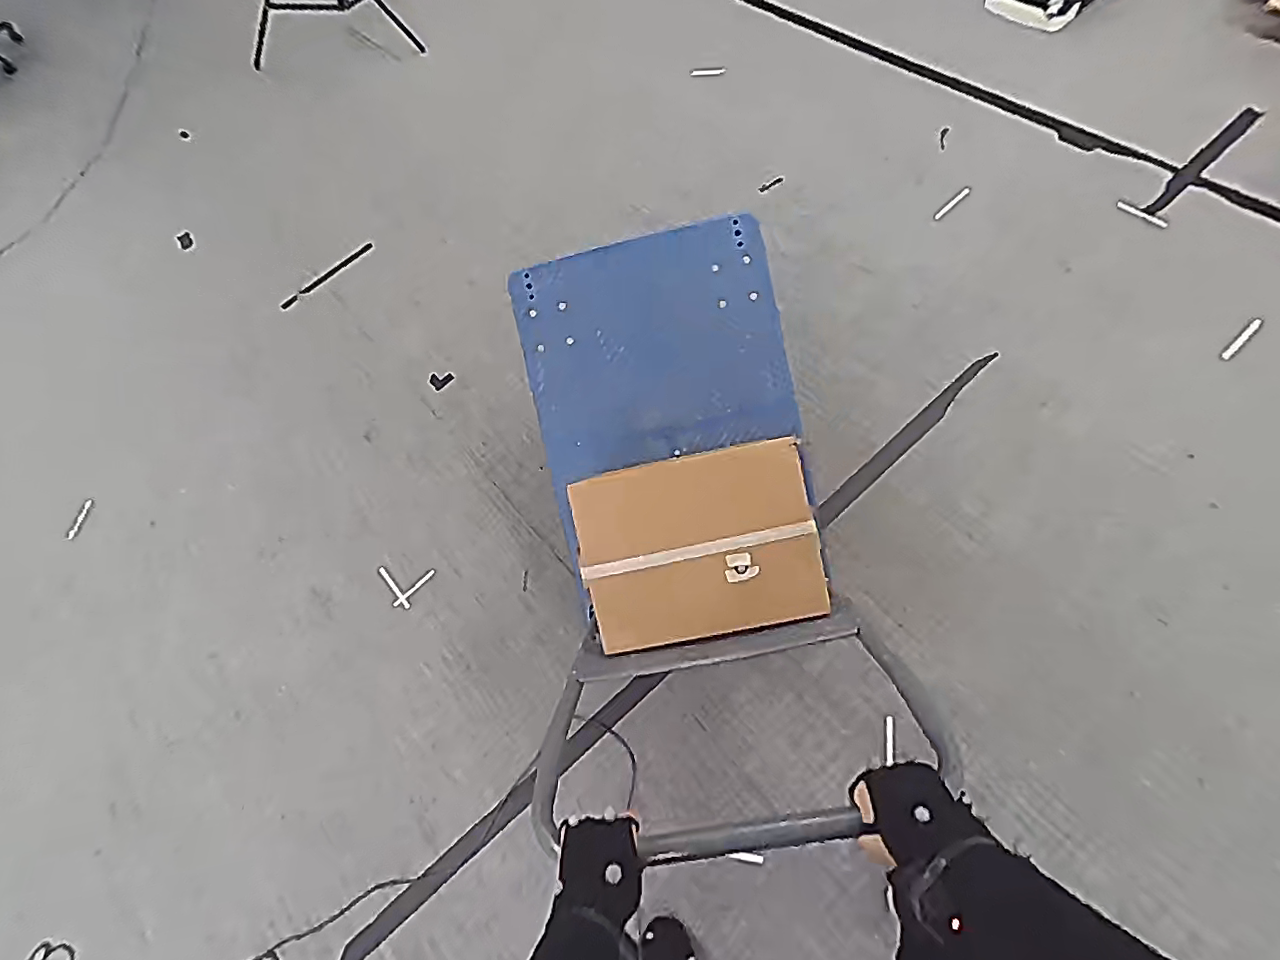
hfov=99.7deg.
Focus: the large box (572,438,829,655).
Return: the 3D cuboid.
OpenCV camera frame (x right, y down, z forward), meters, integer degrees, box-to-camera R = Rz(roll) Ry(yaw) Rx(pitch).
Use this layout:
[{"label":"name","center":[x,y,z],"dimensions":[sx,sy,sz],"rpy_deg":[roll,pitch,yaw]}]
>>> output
[{"label":"large box","center":[0.113,0.115,1.102],"dimensions":[0.408,0.320,0.320],"rpy_deg":[-13,93,4]}]
